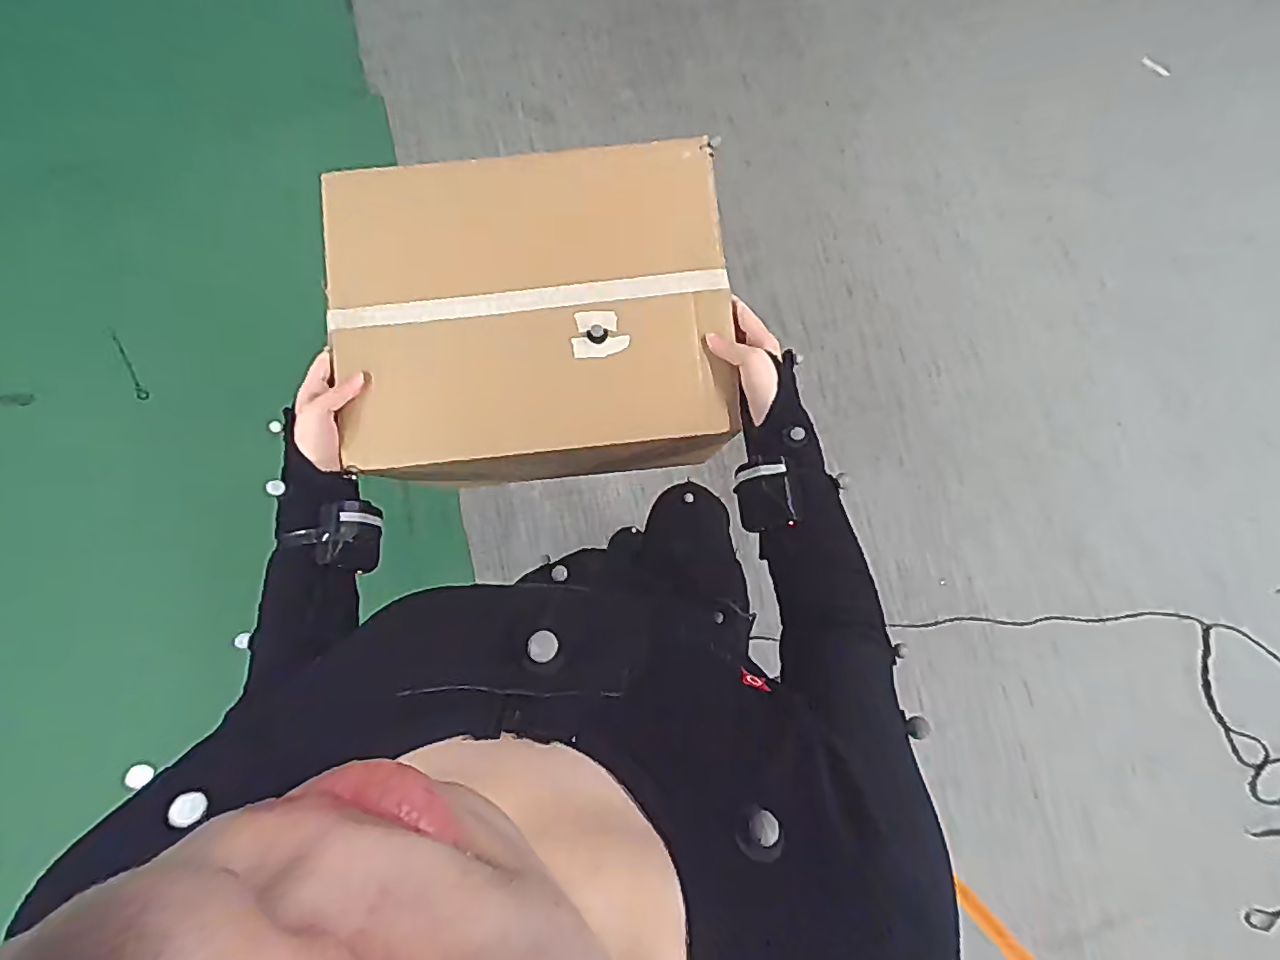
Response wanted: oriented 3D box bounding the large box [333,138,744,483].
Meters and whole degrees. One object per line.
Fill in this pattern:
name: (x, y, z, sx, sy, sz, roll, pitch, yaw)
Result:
large box: (-0.112, -0.180, 0.706, 0.408, 0.320, 0.320, -6, 87, -2)
